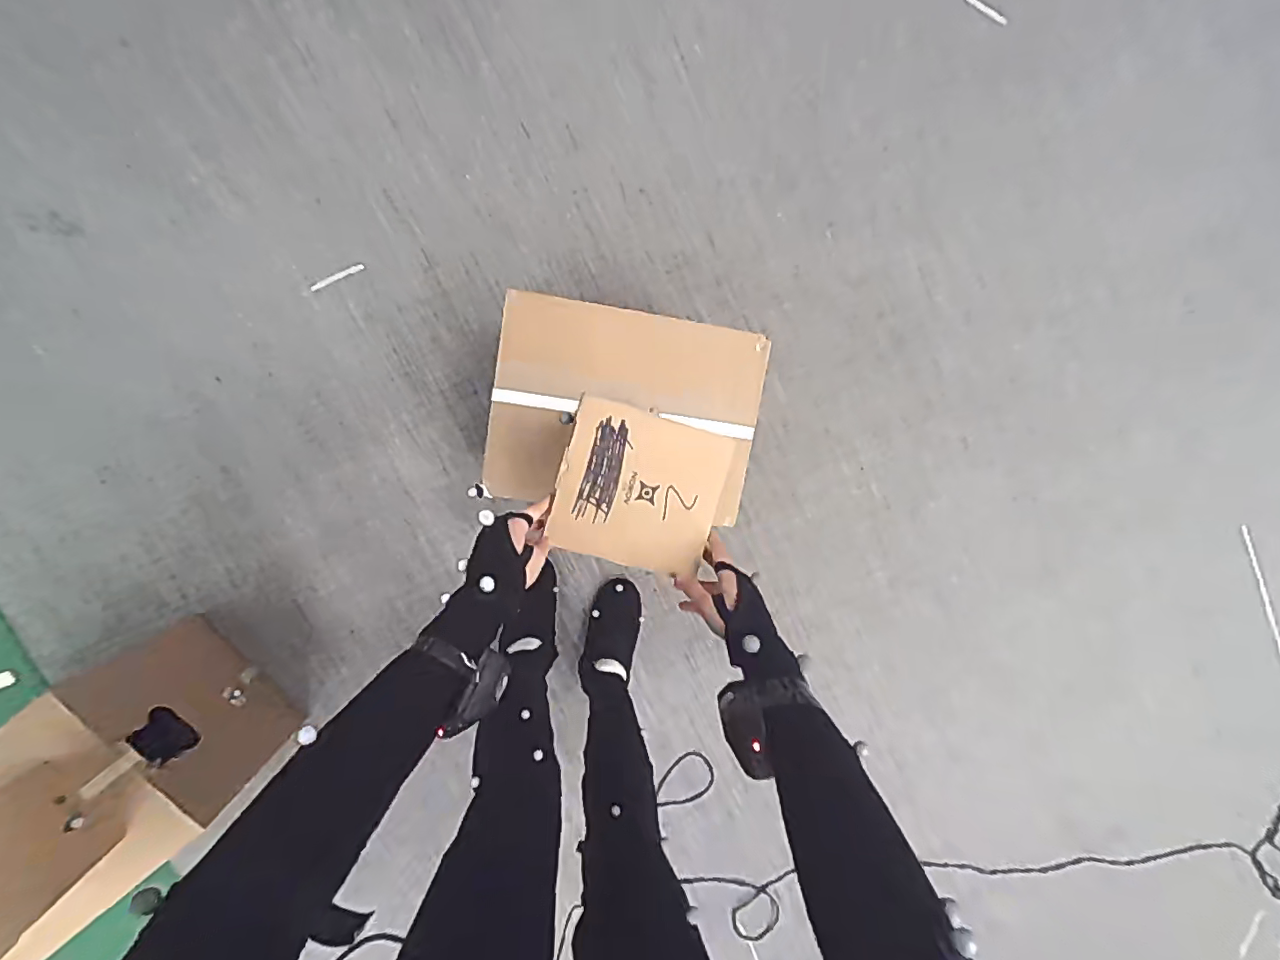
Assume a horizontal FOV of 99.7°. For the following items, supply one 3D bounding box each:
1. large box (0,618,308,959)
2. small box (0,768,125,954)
[{"bbox_3d":[-0.921,0.531,0.970,0.408,0.320,0.320,-40,97,1],"label":"large box"},{"bbox_3d":[-0.877,0.541,0.728,0.179,0.176,0.168,-36,100,-1],"label":"small box"}]
